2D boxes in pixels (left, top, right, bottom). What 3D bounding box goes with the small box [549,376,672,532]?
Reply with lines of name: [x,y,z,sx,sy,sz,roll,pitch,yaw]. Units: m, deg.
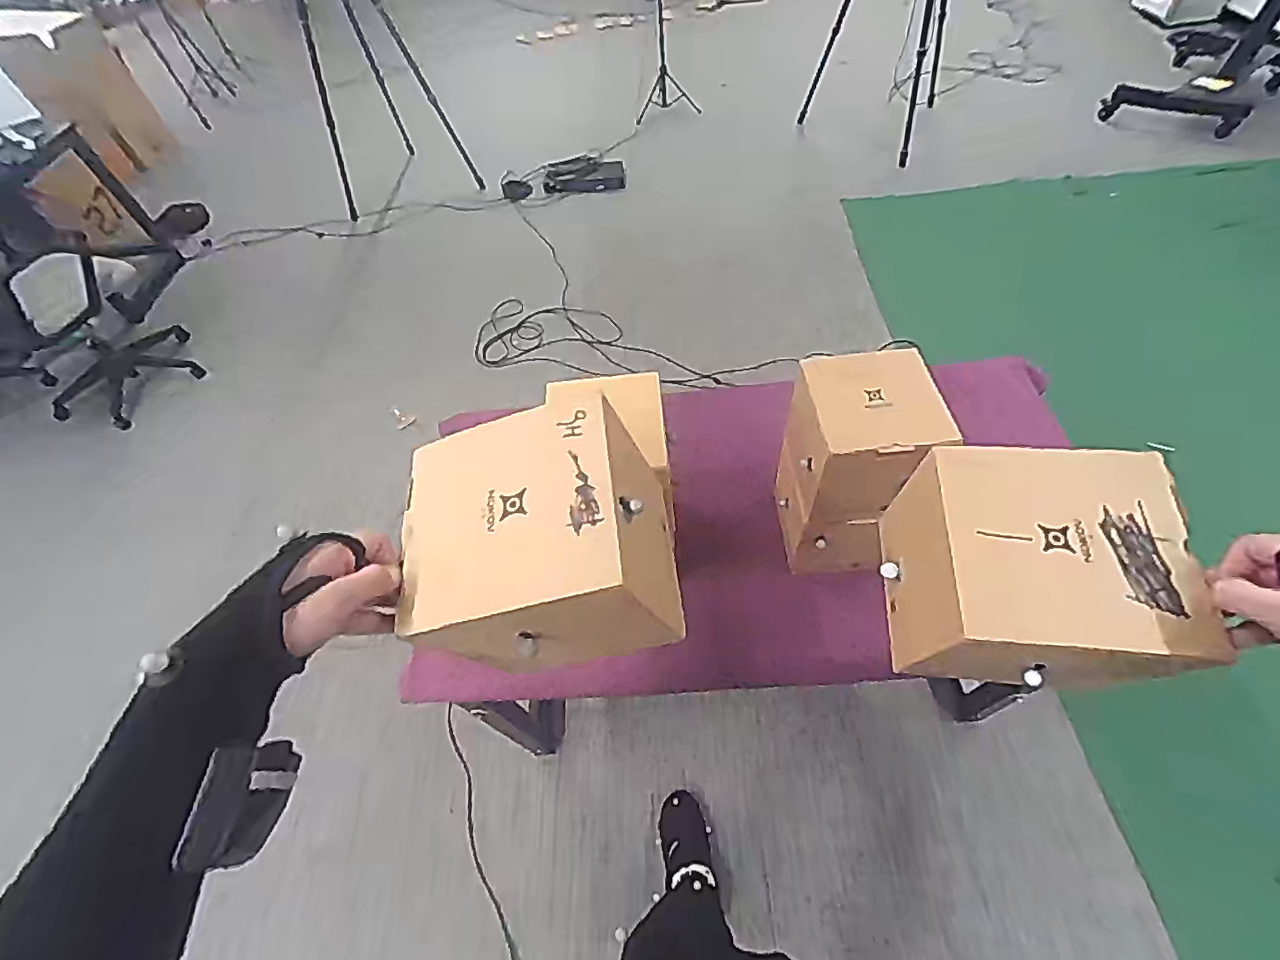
small box: [-0.041,-0.026,0.788,0.168,0.176,0.179,-5,55,2]

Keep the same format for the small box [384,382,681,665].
small box: [-0.077,0.050,0.460,0.179,0.176,0.168,-14,58,13]

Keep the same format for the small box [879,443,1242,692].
small box: [0.329,0.084,0.472,0.179,0.176,0.168,3,62,9]

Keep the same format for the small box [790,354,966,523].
small box: [0.317,-0.051,0.765,0.168,0.176,0.179,-4,53,3]
